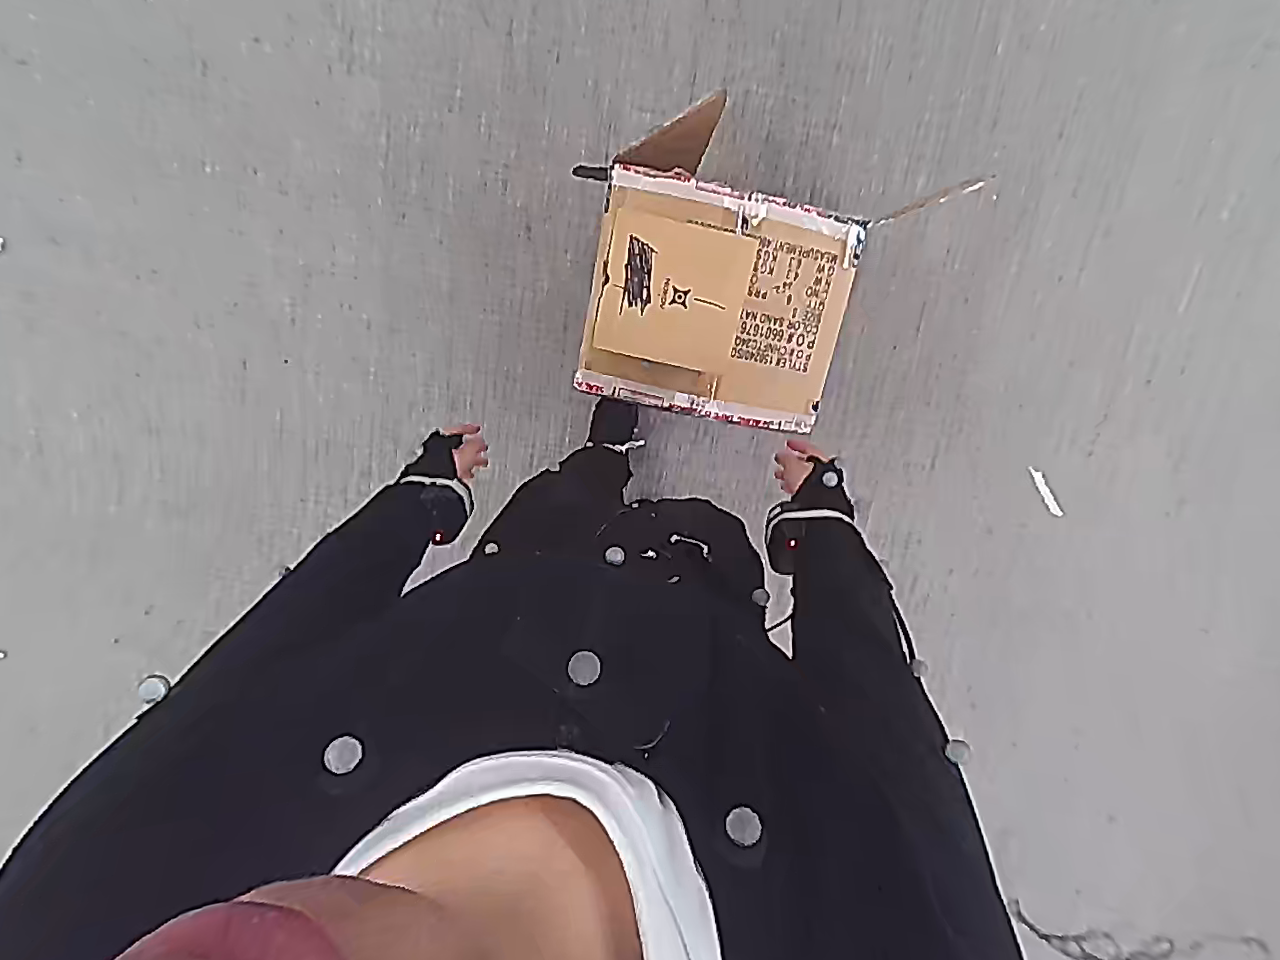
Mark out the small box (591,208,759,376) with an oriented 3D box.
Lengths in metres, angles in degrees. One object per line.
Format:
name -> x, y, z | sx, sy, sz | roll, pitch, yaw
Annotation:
small box -> 0.039, -0.245, 0.735 | 0.179, 0.176, 0.168 | 12, 105, -4
